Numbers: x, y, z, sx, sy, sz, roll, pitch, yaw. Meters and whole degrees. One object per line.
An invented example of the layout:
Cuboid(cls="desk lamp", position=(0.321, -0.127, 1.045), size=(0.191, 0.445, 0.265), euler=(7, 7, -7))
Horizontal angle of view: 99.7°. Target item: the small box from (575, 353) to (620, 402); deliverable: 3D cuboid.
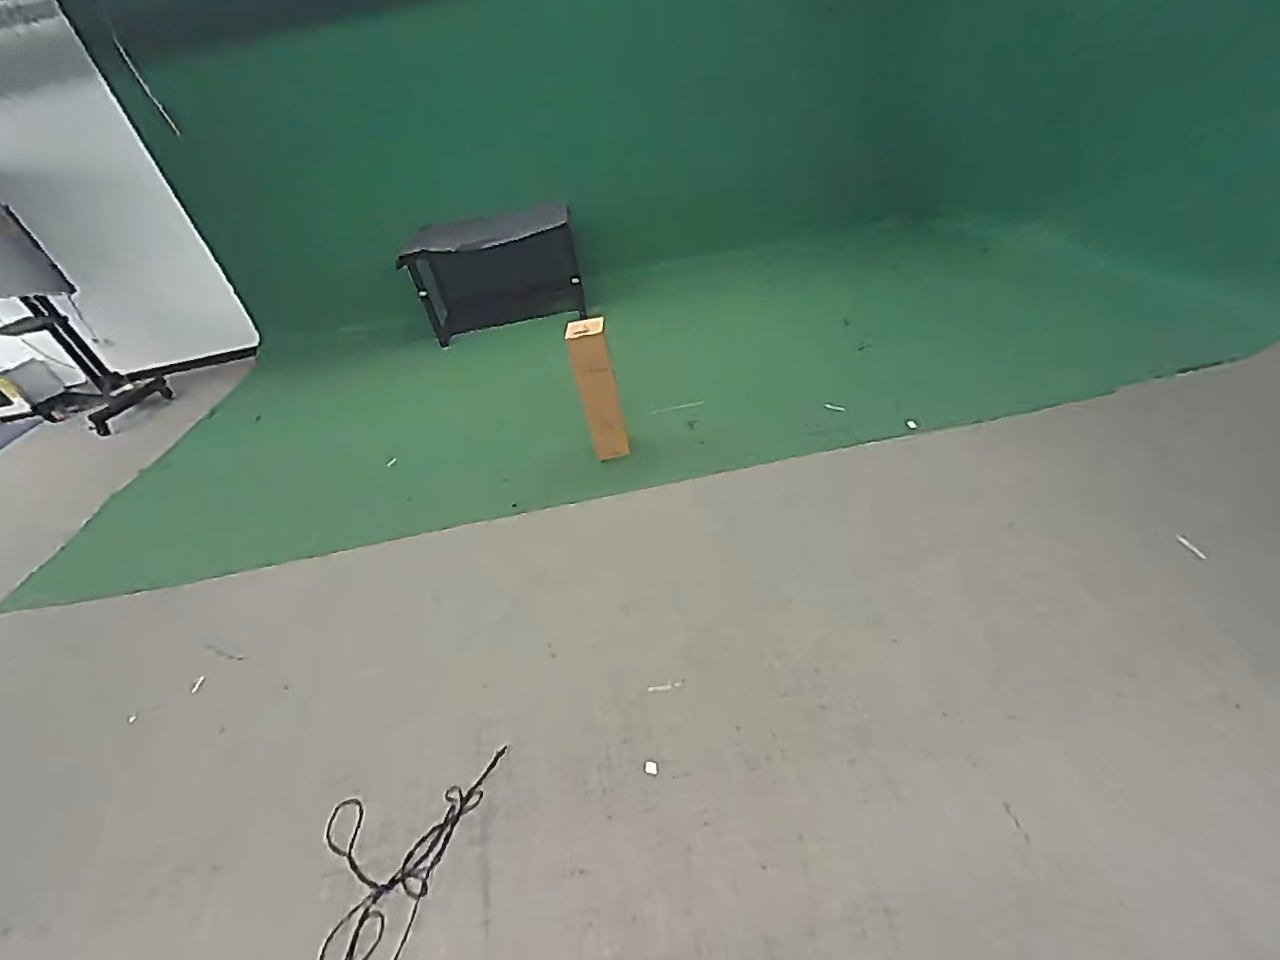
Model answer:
Cuboid(cls="small box", position=(-0.193, -0.476, 2.503), size=(0.179, 0.176, 0.168), euler=(-9, 38, 4))

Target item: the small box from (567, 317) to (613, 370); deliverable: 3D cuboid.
Cuboid(cls="small box", position=(-0.216, -0.598, 2.395), size=(0.168, 0.176, 0.179), euler=(-9, 36, 6))

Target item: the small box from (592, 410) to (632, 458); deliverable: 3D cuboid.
Cuboid(cls="small box", position=(-0.140, -0.222, 2.705), size=(0.168, 0.176, 0.179), euler=(-11, 37, 2))
